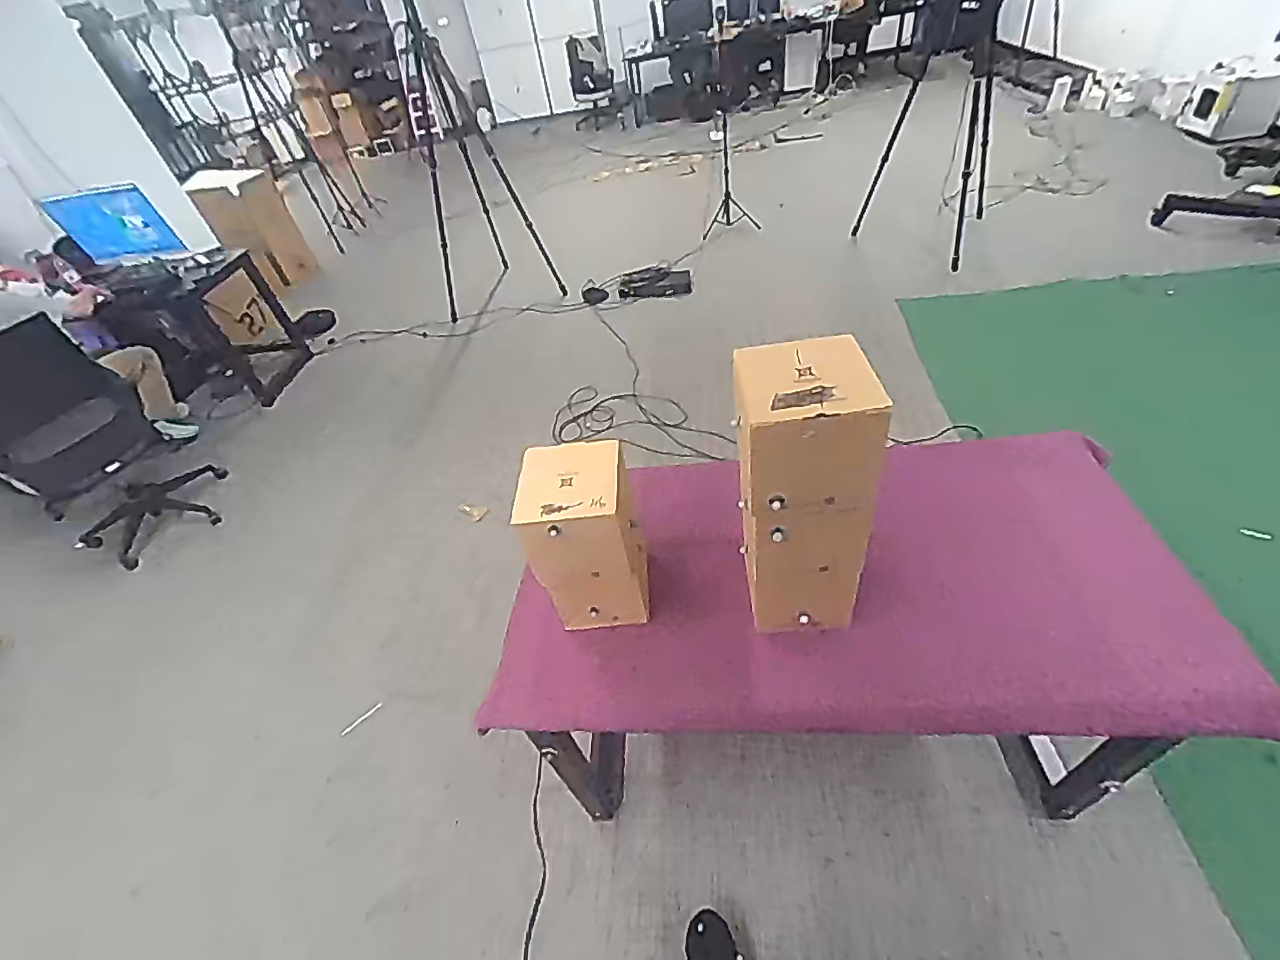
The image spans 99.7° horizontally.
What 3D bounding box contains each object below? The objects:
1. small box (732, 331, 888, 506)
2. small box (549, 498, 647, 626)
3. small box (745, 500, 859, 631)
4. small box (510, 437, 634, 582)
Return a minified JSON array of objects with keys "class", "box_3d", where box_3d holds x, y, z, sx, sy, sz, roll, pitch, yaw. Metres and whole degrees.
[{"class":"small box","box_3d":[0.220,-0.077,0.740,0.168,0.176,0.179,-6,42,7]},{"class":"small box","box_3d":[-0.079,0.158,1.043,0.168,0.176,0.179,-7,44,5]},{"class":"small box","box_3d":[0.278,0.149,0.971,0.168,0.176,0.179,-6,44,8]},{"class":"small box","box_3d":[-0.104,0.051,0.921,0.168,0.176,0.179,-6,44,6]}]
